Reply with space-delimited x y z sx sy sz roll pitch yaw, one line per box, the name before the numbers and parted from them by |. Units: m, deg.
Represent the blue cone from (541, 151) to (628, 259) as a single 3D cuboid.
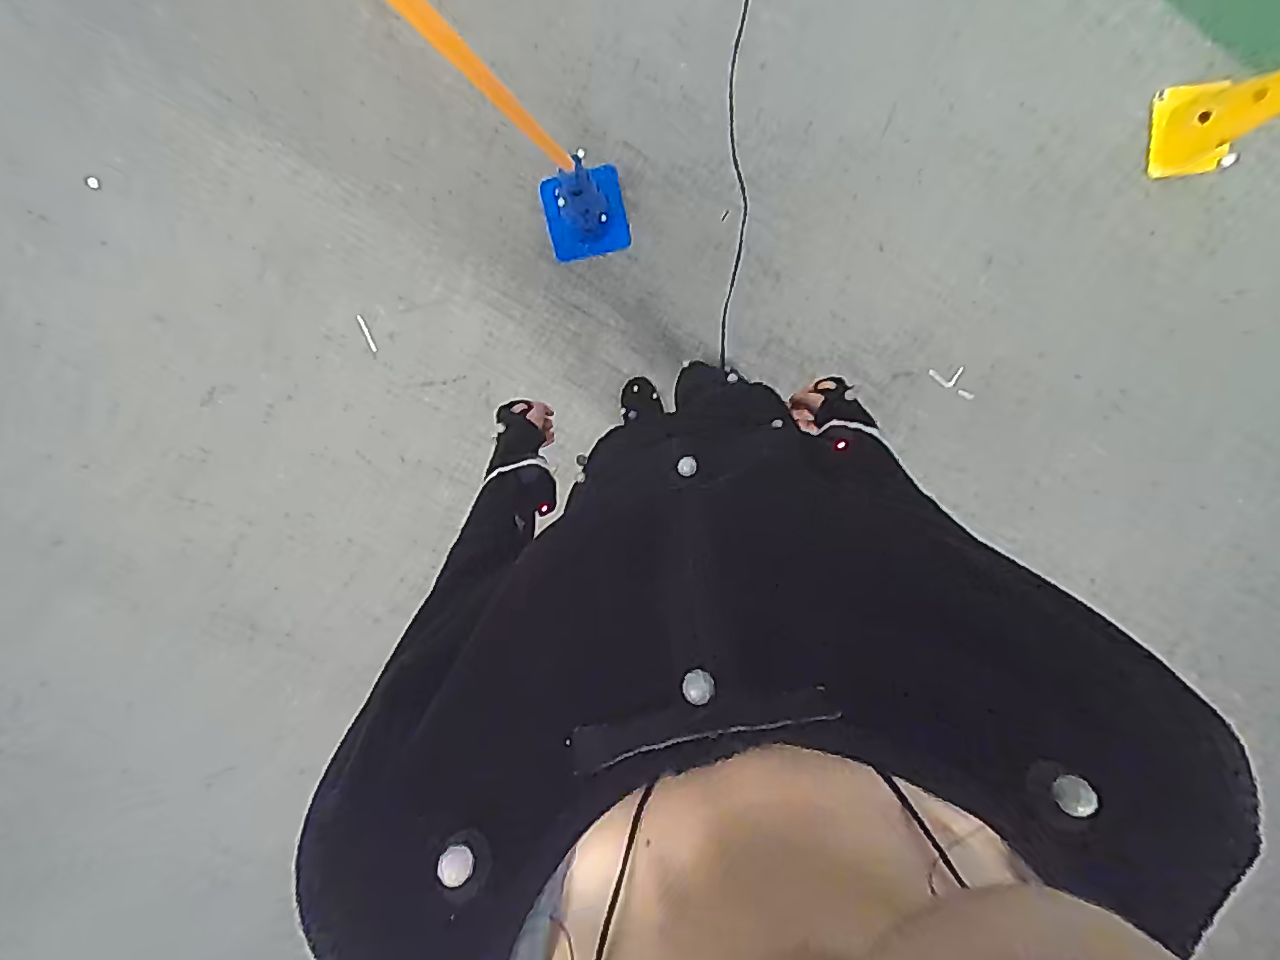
blue cone | -0.137 -0.620 1.175 0.193 0.380 0.192 -14 103 4
